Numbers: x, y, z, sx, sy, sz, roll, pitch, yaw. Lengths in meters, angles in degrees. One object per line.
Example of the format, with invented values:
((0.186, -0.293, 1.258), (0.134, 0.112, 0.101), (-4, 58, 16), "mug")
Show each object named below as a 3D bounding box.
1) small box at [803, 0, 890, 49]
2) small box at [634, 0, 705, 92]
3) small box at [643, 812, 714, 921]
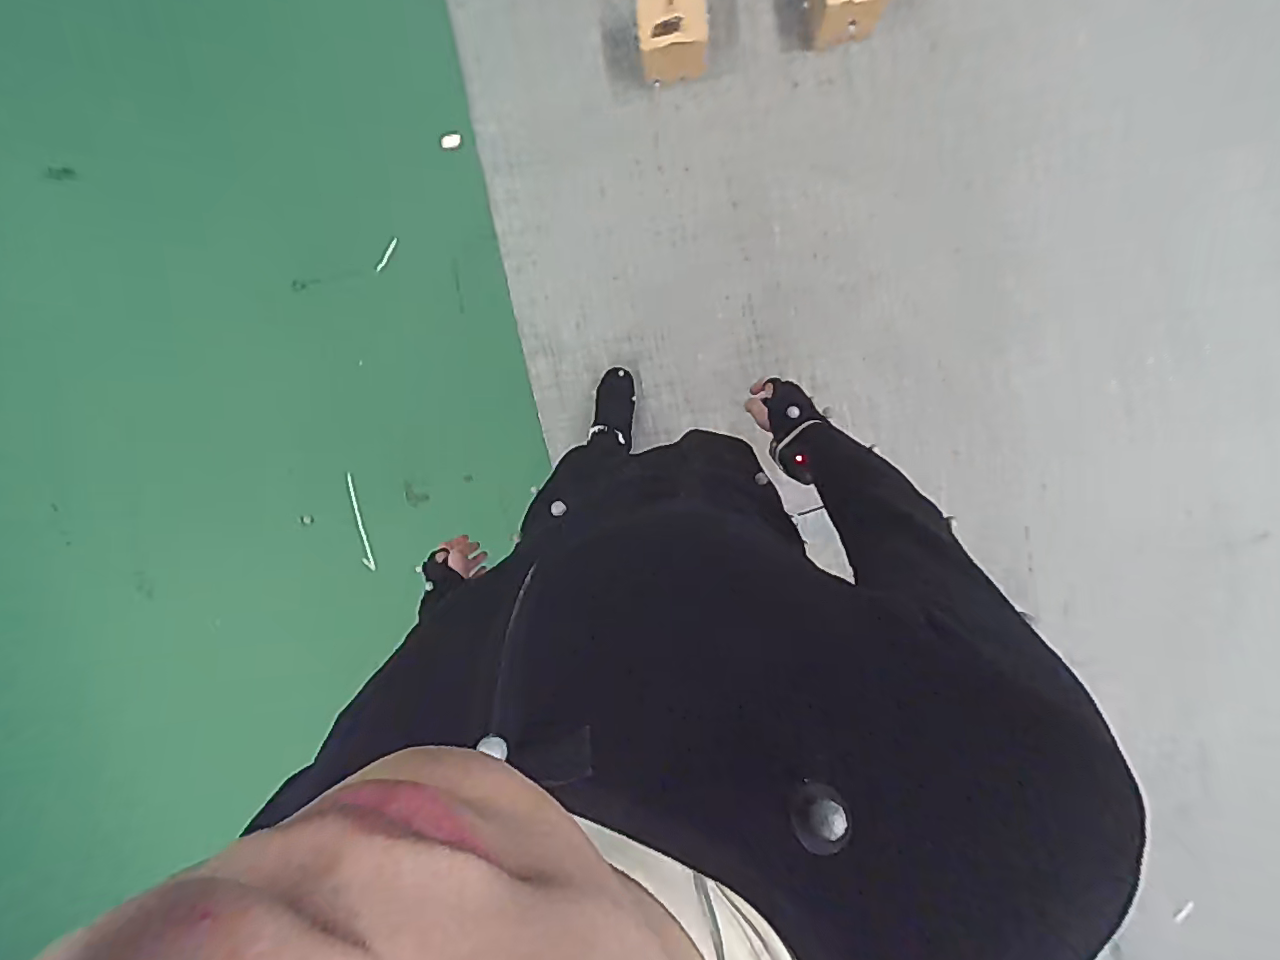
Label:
((0.505, -1.209, 1.332), (0.168, 0.176, 0.179), (-9, 98, 6), "small box")
((0.078, -1.138, 1.394), (0.168, 0.176, 0.179), (-6, 97, 4), "small box")
((0.109, 1.082, 1.522), (0.168, 0.176, 0.179), (-11, 97, 5), "small box")
